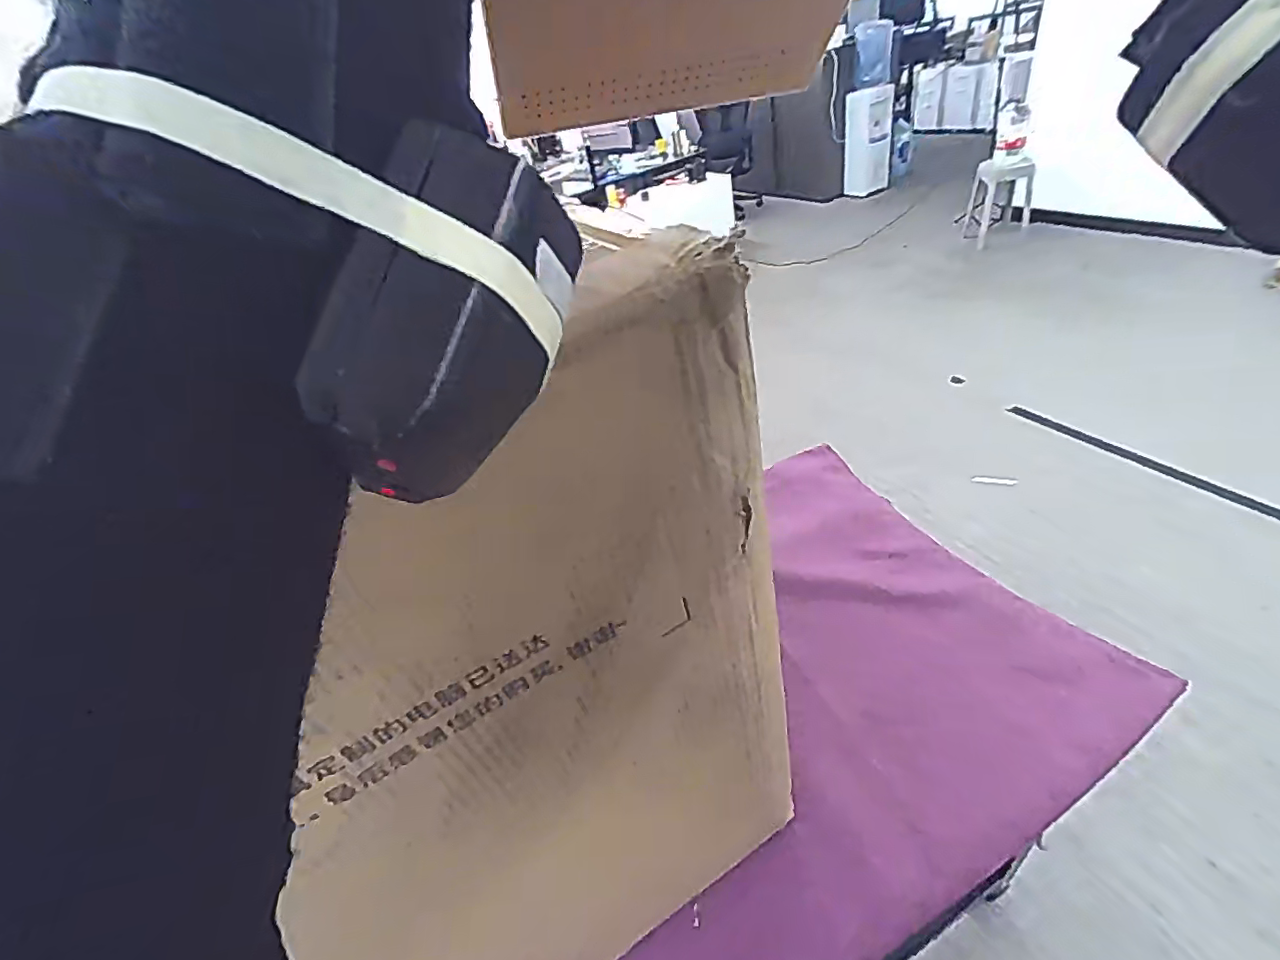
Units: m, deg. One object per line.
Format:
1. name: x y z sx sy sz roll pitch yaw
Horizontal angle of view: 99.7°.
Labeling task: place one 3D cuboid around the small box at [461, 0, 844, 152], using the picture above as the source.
1. small box: 0.000 -0.279 0.227 0.179 0.168 0.176 -16 -7 -8
